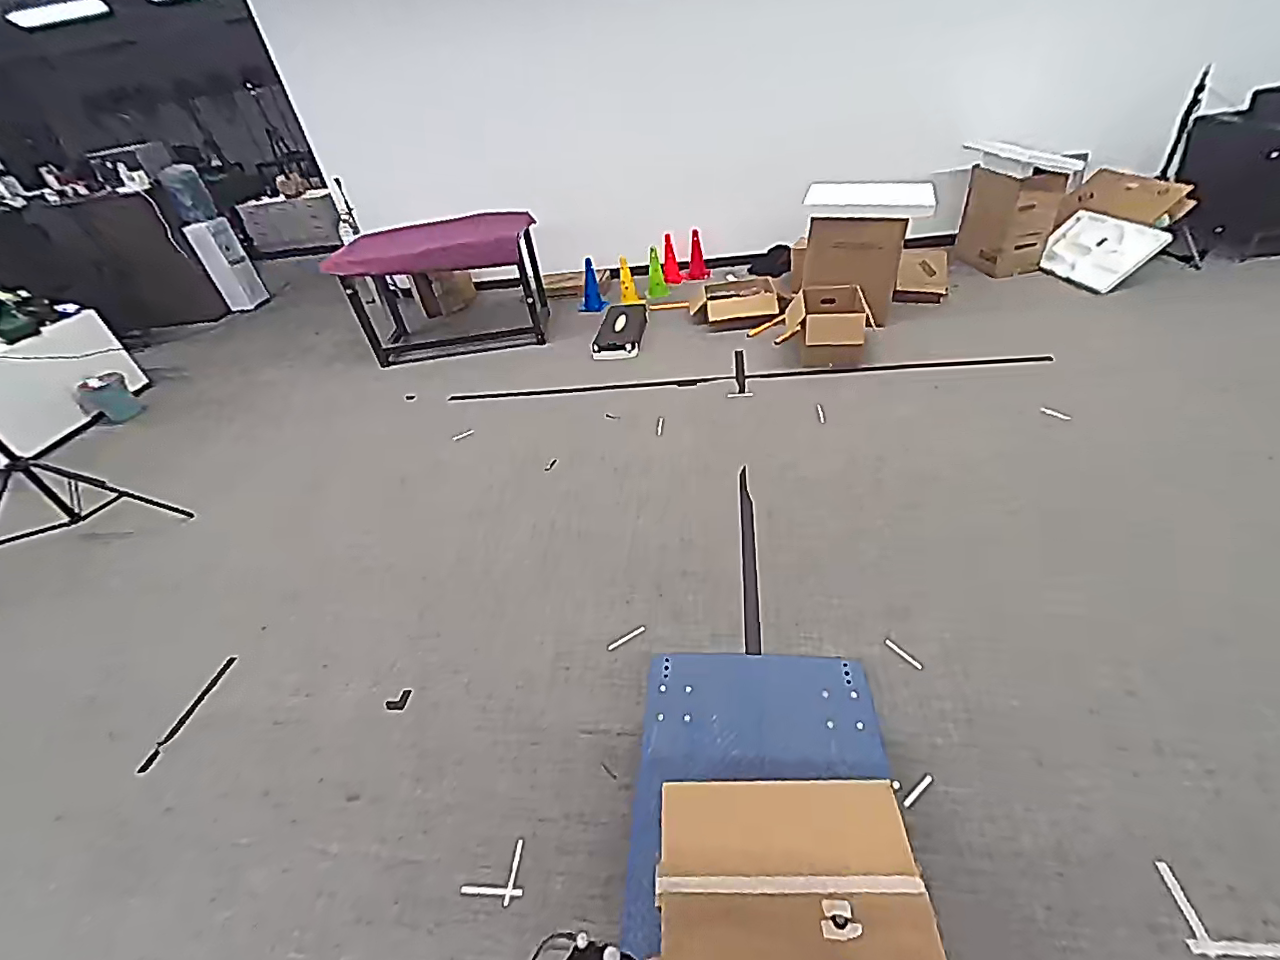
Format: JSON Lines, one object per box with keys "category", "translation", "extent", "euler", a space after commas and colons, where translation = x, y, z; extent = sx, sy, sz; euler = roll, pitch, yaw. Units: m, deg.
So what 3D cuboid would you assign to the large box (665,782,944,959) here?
{"category": "large box", "translation": [0.254, 0.761, 0.944], "extent": [0.408, 0.320, 0.320], "euler": [-4, 38, 6]}
